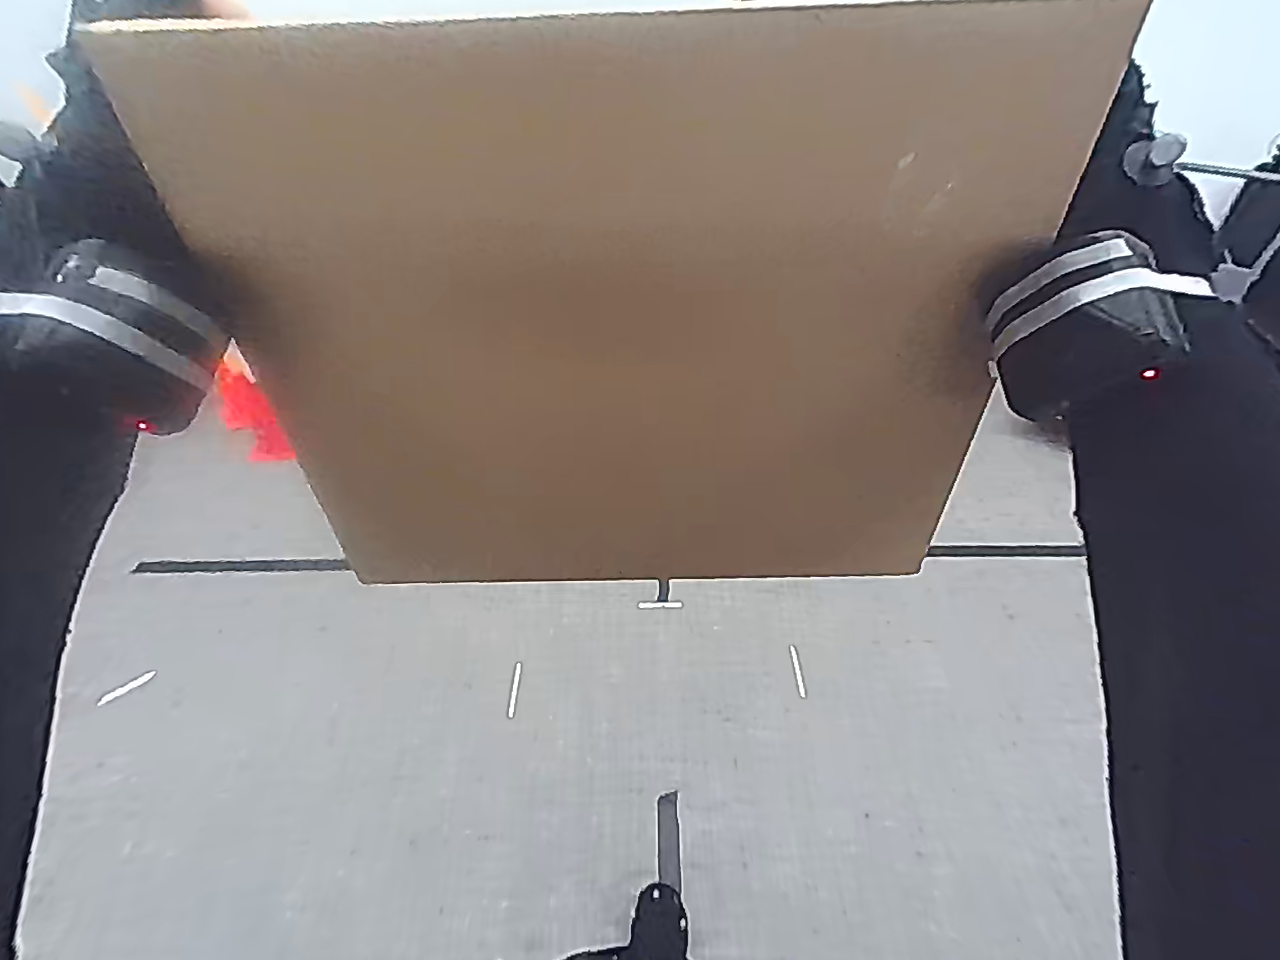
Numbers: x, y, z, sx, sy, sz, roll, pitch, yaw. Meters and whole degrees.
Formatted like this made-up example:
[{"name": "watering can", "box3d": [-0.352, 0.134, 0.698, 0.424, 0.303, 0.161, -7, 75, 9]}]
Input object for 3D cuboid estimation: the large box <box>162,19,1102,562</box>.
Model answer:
[{"name": "large box", "box3d": [-0.004, -0.151, 0.431, 0.408, 0.320, 0.320, -1, 38, 0]}]
